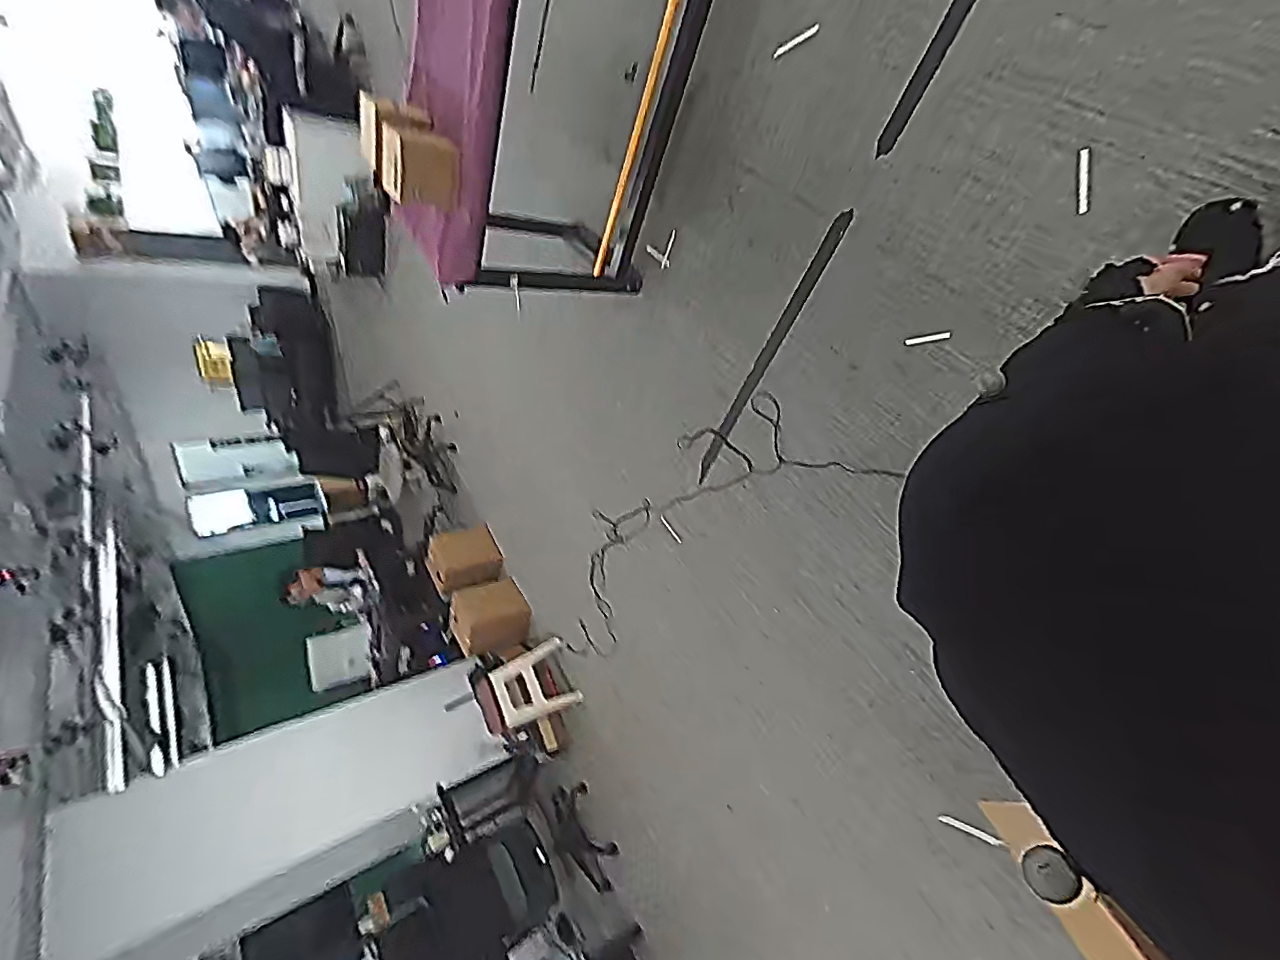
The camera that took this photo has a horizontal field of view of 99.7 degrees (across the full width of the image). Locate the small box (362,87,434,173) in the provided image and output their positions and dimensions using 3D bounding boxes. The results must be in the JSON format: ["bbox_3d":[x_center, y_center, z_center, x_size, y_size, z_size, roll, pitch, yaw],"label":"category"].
[{"bbox_3d":[-0.763,-1.098,1.706,0.168,0.176,0.179,49,135,33],"label":"small box"}]
